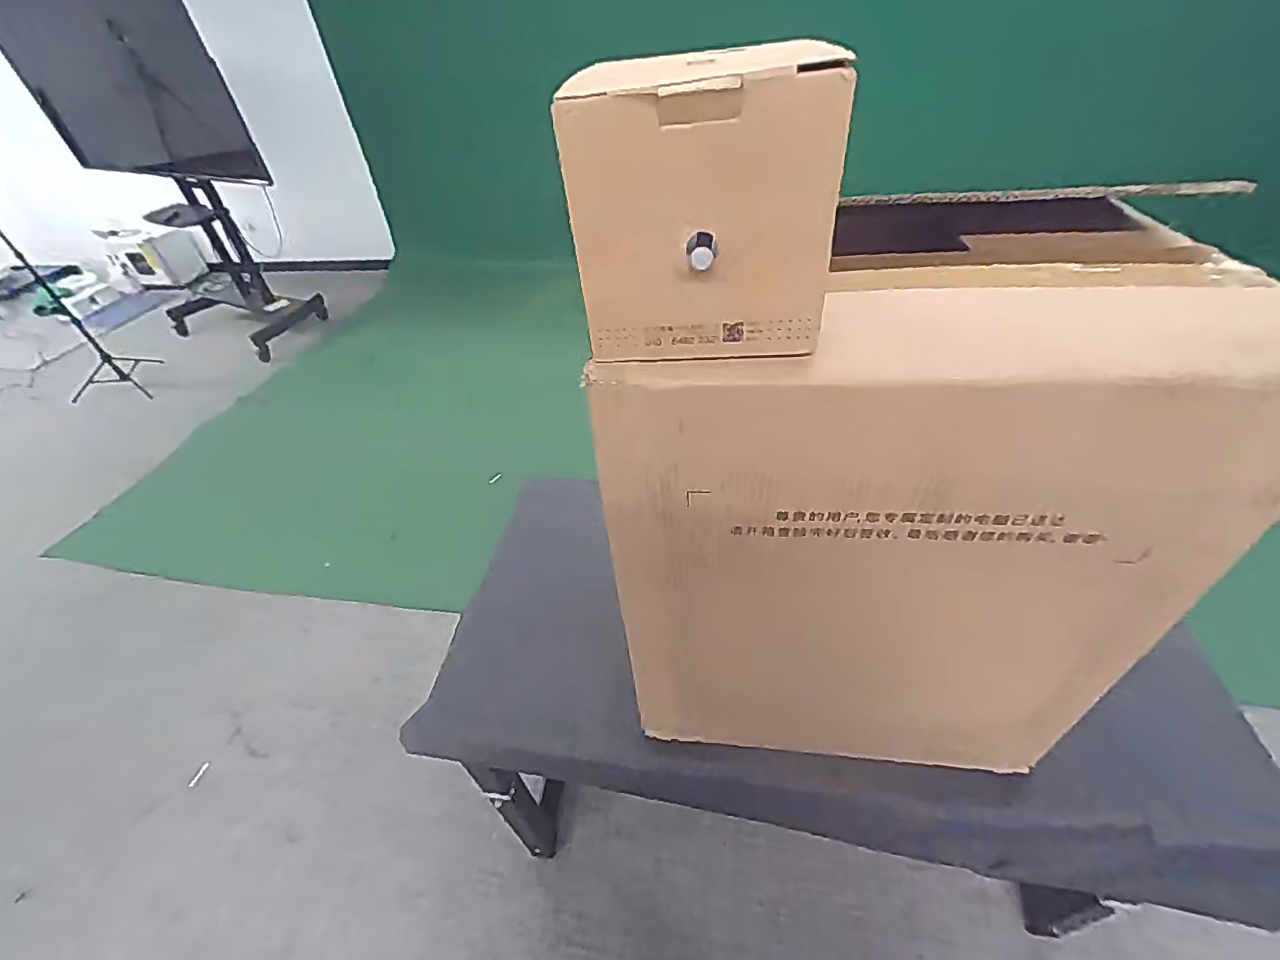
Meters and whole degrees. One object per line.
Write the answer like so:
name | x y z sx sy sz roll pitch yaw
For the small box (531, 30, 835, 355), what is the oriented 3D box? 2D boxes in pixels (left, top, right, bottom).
small box | 0.037 -0.203 0.396 0.168 0.176 0.179 -1 43 8
